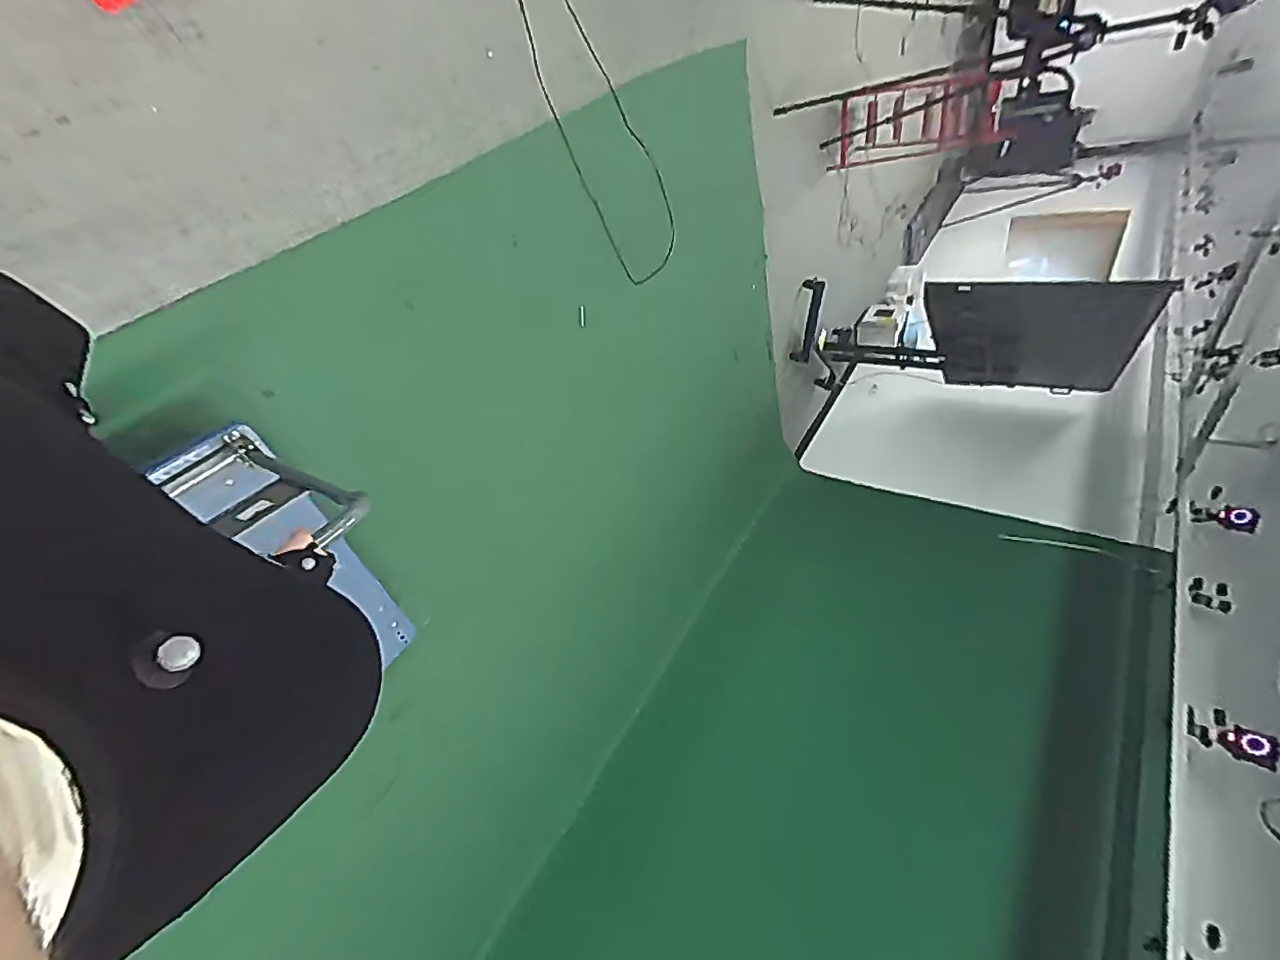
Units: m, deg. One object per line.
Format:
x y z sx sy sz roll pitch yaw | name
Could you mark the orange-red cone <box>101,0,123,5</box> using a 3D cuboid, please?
-0.904 -1.024 0.936 0.199 0.360 0.198 -61 145 -21 | orange-red cone
